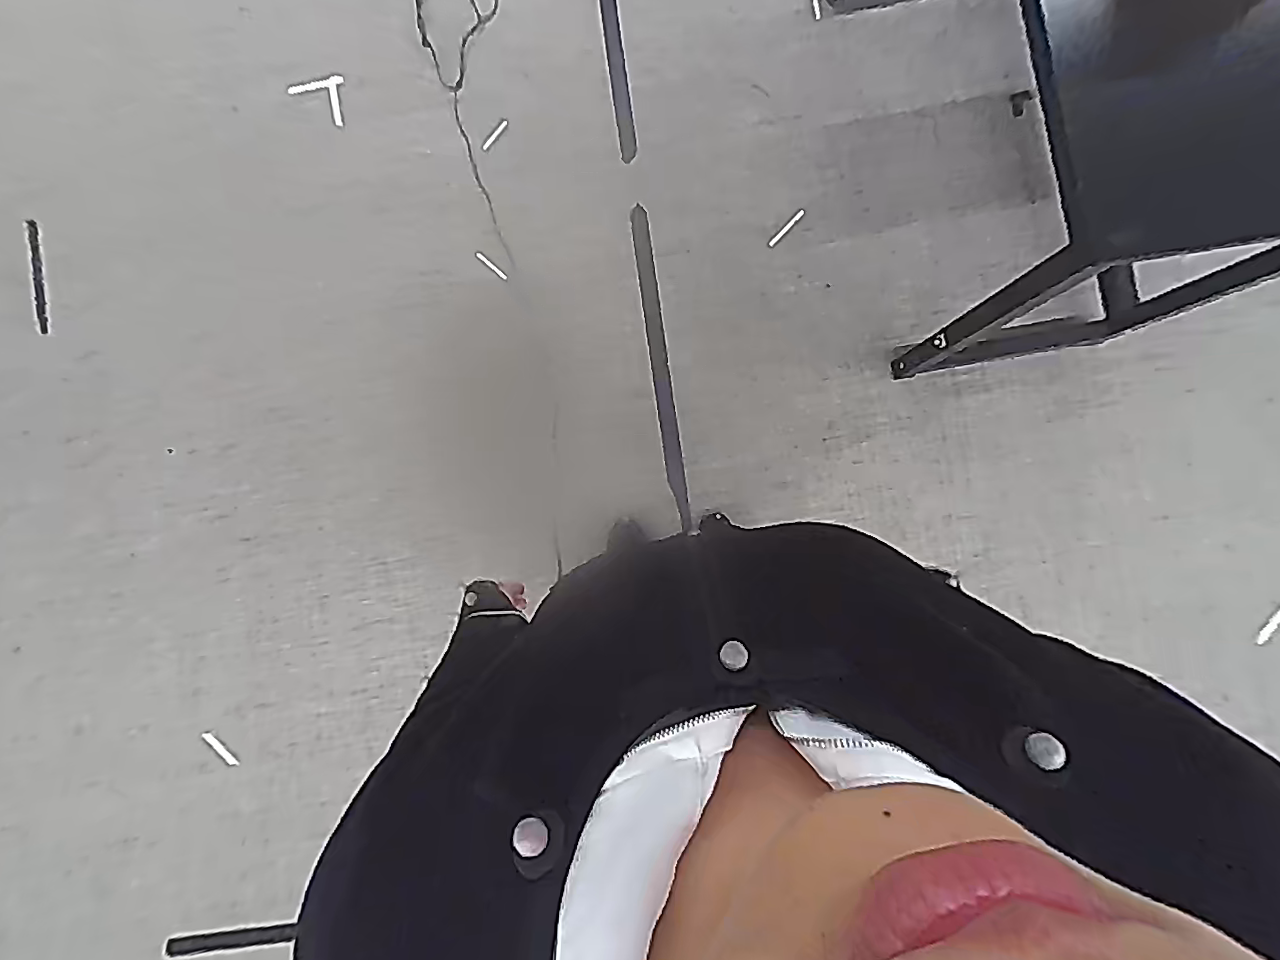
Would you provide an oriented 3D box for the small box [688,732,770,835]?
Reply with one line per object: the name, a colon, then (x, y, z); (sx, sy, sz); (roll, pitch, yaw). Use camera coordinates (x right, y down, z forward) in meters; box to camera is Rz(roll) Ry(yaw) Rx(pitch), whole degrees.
small box: (0.220, 0.767, 1.380); (0.179, 0.176, 0.168); (-9, 86, 2)
